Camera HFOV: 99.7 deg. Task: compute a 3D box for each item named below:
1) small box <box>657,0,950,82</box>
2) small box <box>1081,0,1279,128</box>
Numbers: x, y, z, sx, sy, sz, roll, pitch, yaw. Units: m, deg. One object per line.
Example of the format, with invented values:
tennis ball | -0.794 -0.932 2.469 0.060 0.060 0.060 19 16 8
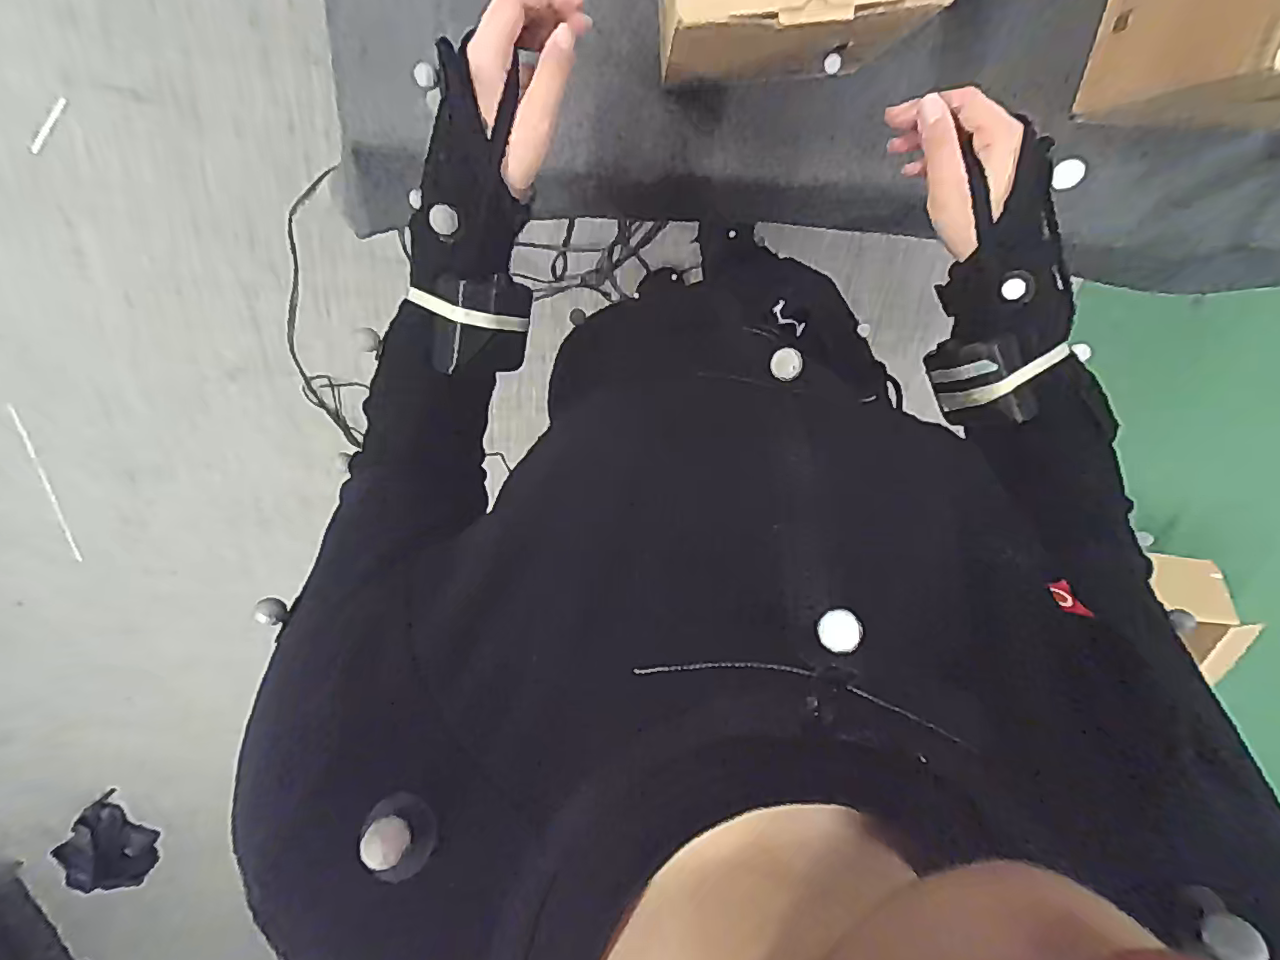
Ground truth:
small box | 0.096 -0.383 0.351 0.168 0.176 0.179 -5 114 1
small box | 0.469 -0.350 0.366 0.179 0.176 0.168 3 115 -1
